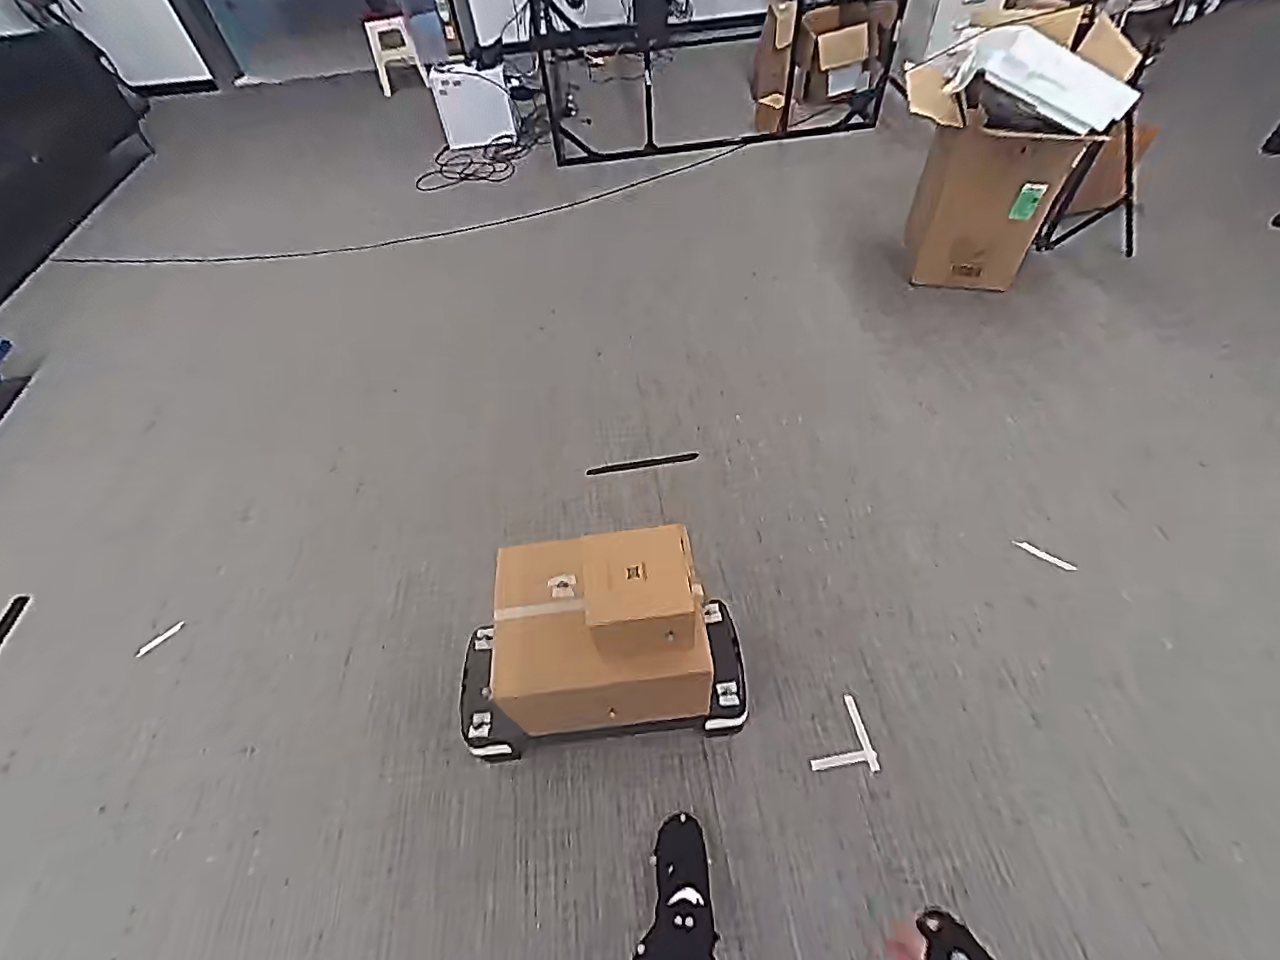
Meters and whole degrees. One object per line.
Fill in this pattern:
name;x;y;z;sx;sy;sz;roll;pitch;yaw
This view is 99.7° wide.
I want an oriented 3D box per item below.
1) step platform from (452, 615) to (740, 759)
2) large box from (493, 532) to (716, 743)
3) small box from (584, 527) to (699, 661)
step platform;-0.101;0.508;1.333;0.684;0.204;0.286;-4;52;3
large box;-0.067;0.342;1.157;0.408;0.320;0.320;-8;52;0
small box;0.002;0.203;0.947;0.179;0.176;0.168;-8;53;0
